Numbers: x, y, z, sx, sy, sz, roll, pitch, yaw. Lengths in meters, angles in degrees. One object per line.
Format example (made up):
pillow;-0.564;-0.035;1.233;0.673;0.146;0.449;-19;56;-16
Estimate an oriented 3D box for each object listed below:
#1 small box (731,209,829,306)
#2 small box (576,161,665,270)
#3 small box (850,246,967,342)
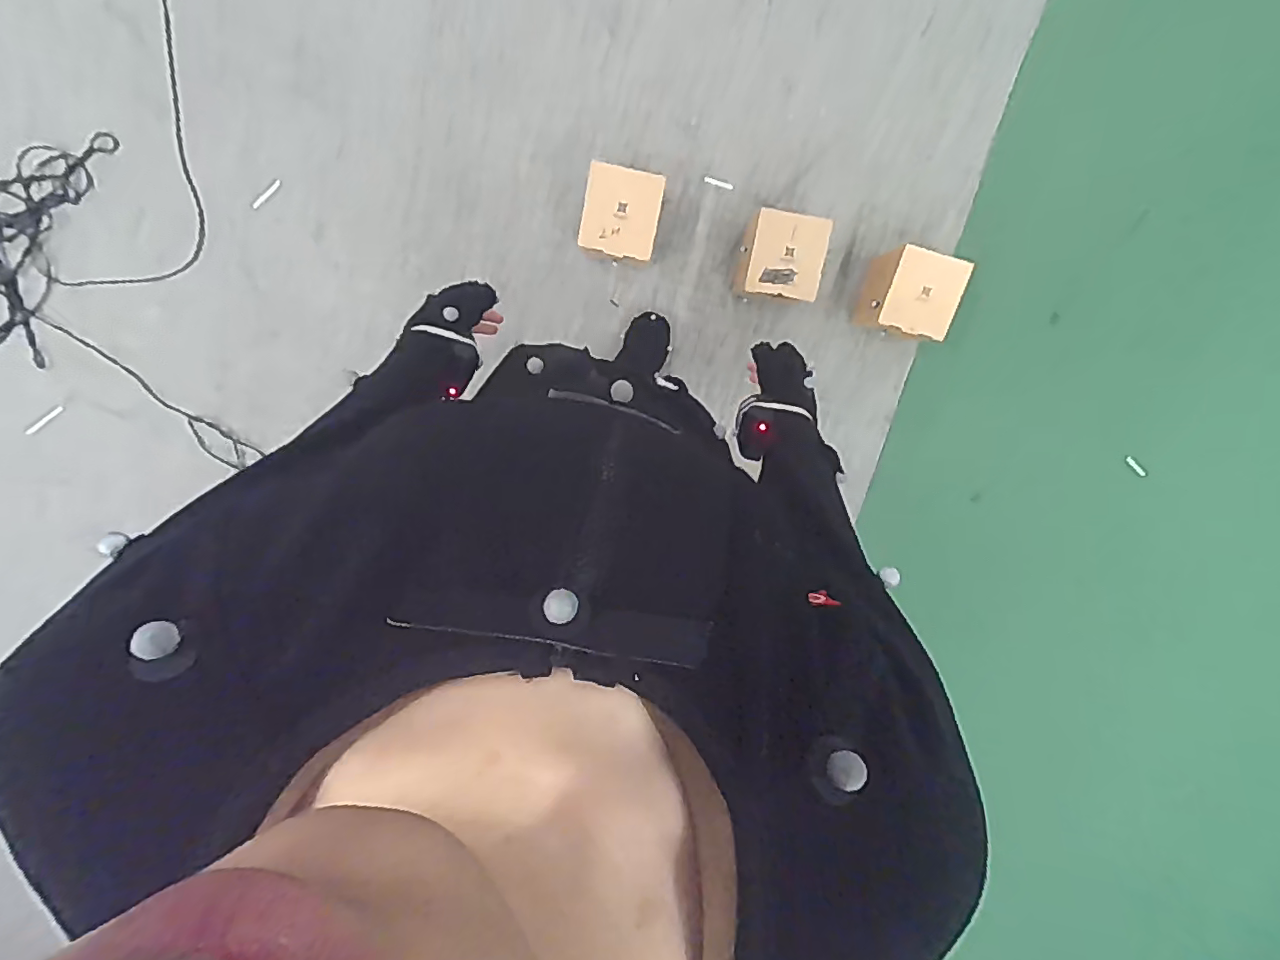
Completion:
small box;0.320;-0.515;1.277;0.168;0.176;0.179;9;104;-3
small box;-0.044;-0.600;1.248;0.168;0.176;0.179;12;105;-3
small box;0.635;-0.440;1.303;0.168;0.176;0.179;15;105;-4
